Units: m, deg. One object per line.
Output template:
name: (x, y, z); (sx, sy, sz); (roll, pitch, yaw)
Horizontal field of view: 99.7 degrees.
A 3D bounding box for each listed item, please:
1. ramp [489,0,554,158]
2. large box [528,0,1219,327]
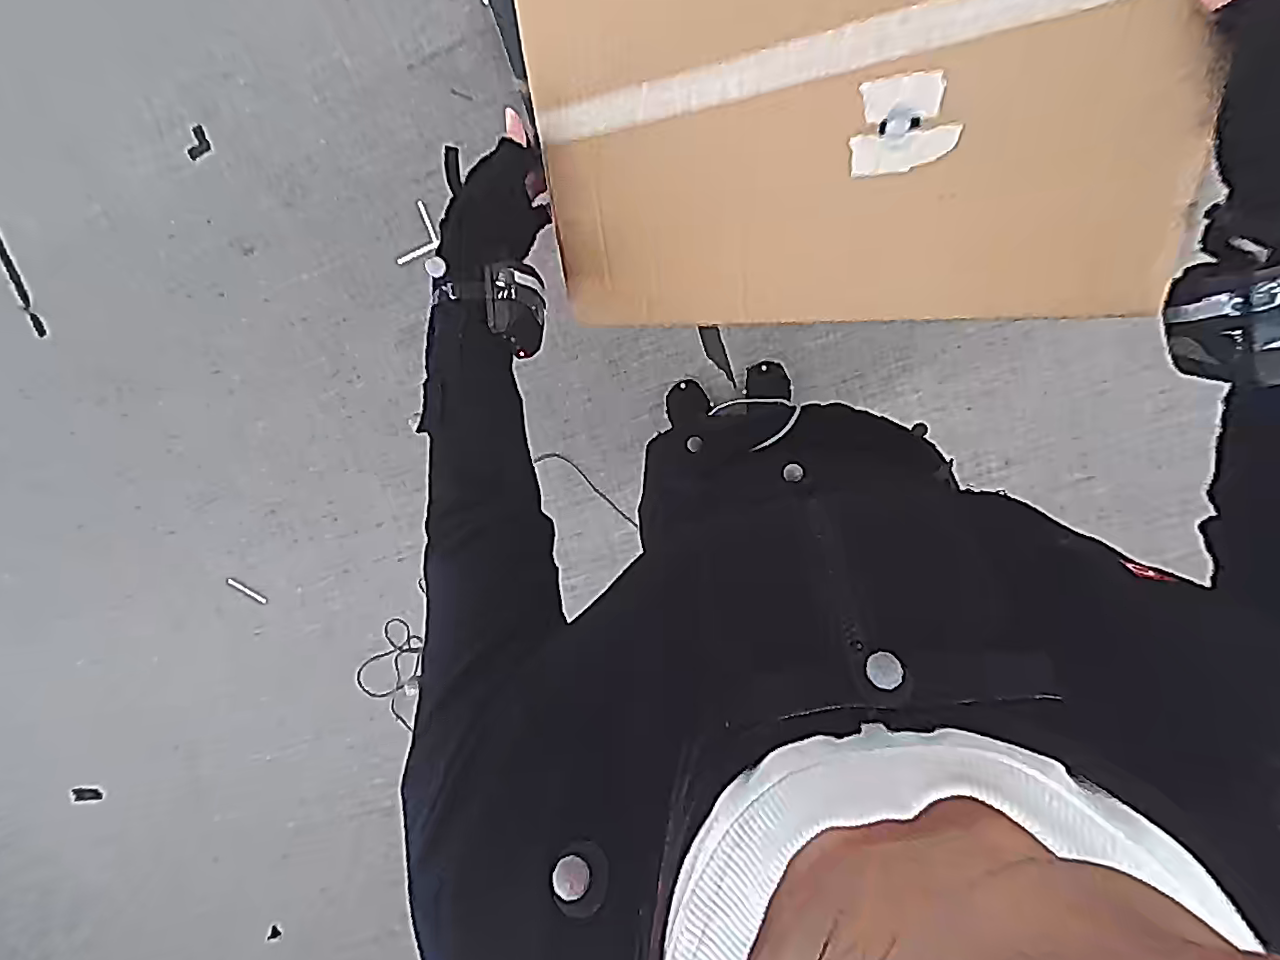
ramp: (-0.161, -1.300, 1.132); (0.509, 0.206, 0.991); (-17, 100, 9)
large box: (0.170, -0.327, 0.456); (0.408, 0.320, 0.320); (7, 120, 31)
